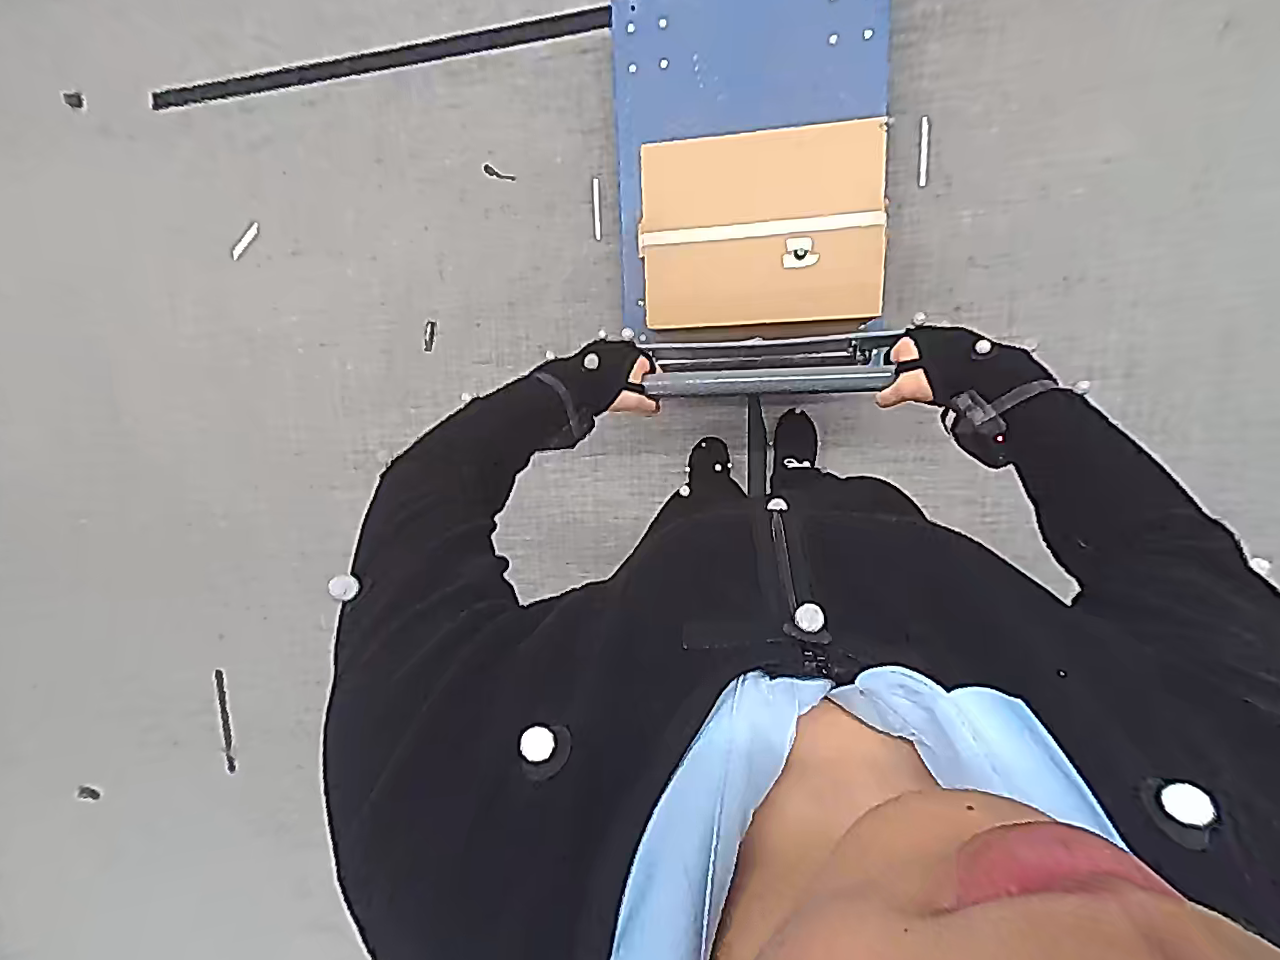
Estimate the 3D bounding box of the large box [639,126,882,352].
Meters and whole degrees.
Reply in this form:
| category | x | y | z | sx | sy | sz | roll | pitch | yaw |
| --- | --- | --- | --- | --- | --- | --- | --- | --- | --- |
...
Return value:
| category | x | y | z | sx | sy | sz | roll | pitch | yaw |
| --- | --- | --- | --- | --- | --- | --- | --- | --- | --- |
| large box | 0.222 | -0.435 | 1.066 | 0.408 | 0.320 | 0.320 | -1 | 99 | 9 |
